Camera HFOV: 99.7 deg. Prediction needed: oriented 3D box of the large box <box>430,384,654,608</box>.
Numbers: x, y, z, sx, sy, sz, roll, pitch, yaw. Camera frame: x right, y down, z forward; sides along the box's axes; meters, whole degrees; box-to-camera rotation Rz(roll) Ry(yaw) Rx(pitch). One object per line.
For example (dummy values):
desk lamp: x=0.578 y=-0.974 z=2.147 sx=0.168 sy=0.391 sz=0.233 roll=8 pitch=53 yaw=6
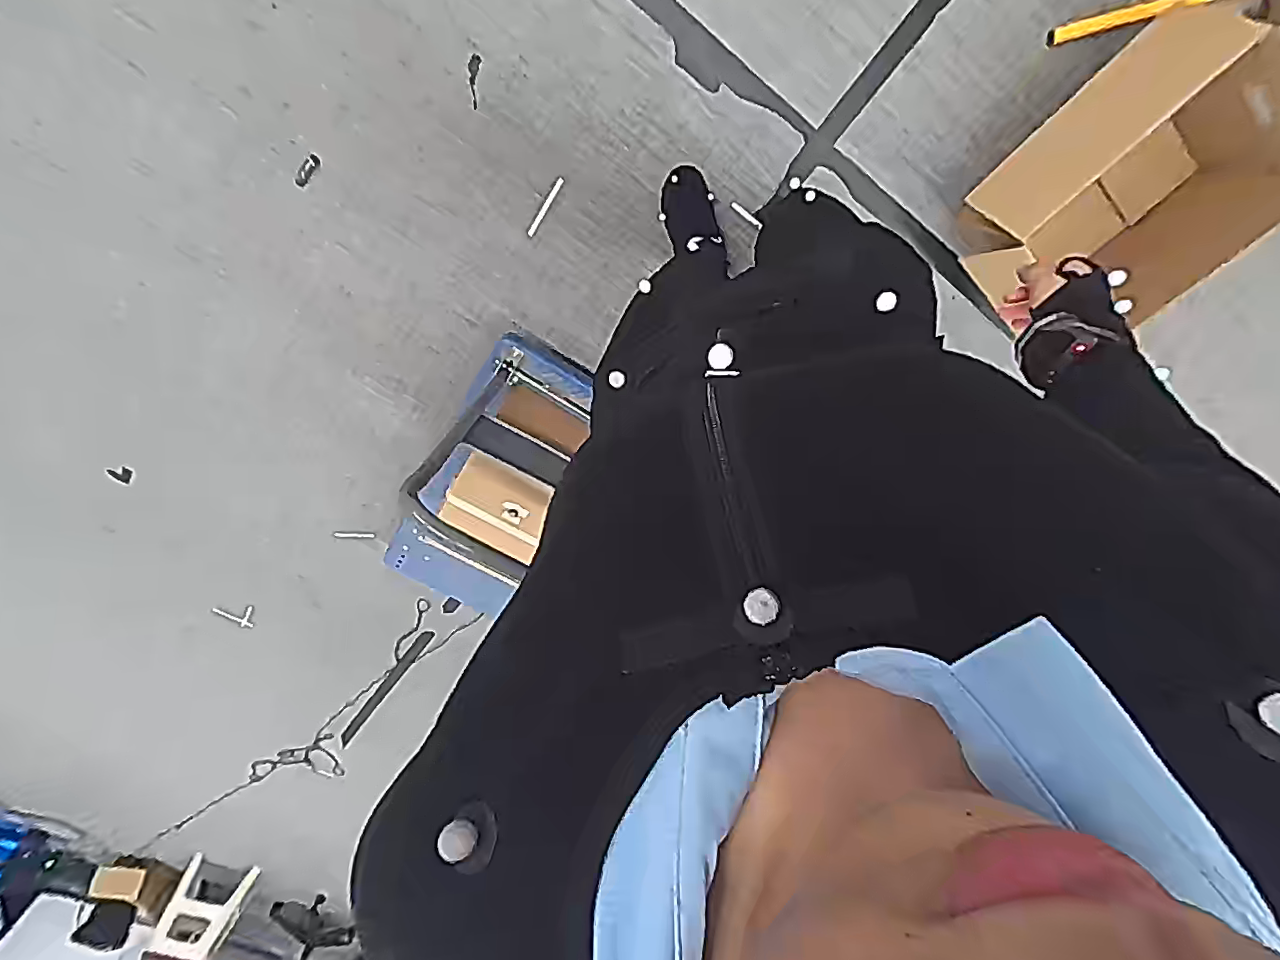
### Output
large box: x=-0.219 y=0.037 z=1.326 sx=0.408 sy=0.320 sz=0.320 roll=31 pitch=119 yaw=-14
